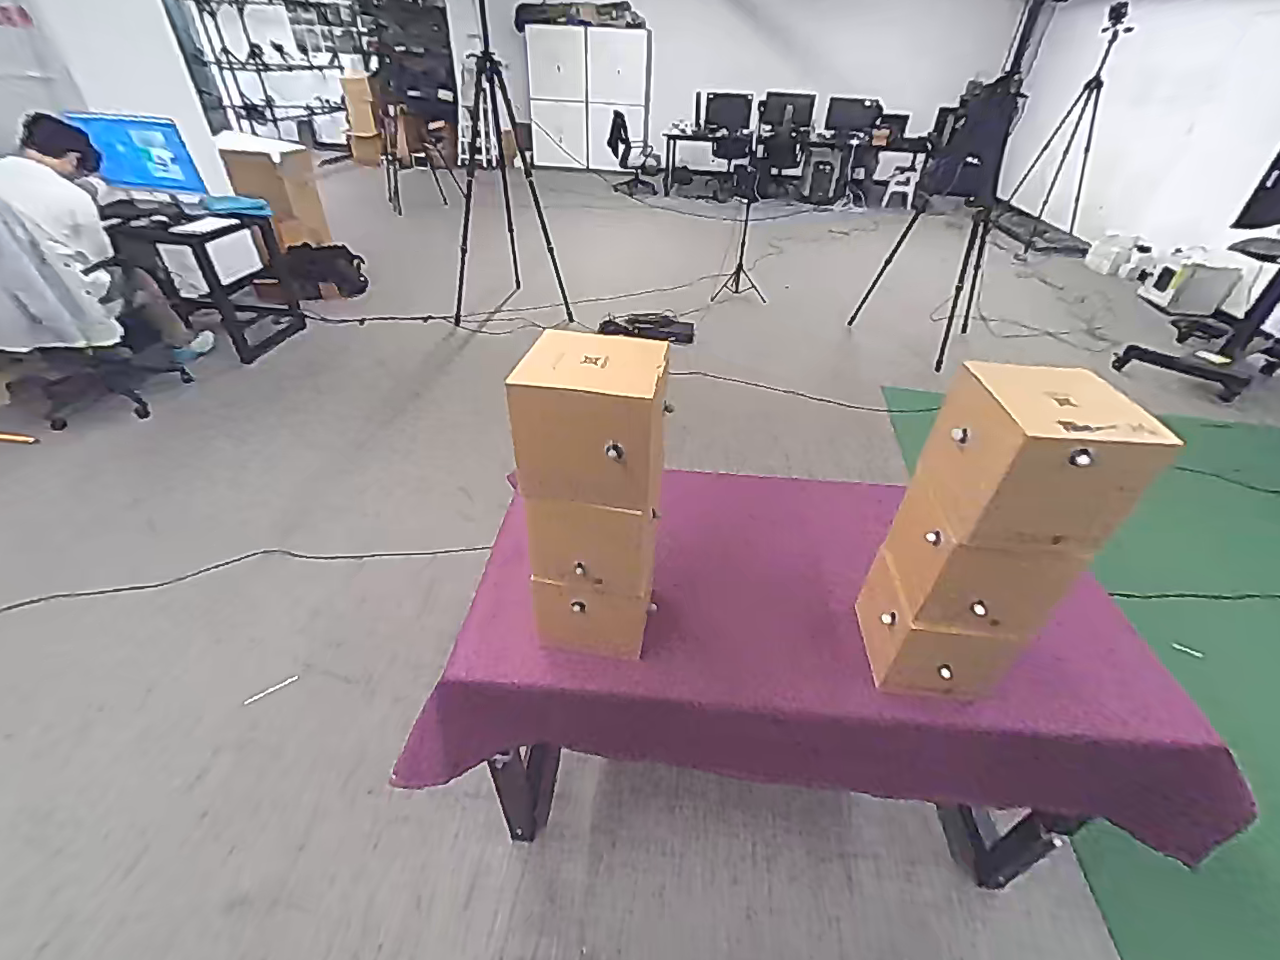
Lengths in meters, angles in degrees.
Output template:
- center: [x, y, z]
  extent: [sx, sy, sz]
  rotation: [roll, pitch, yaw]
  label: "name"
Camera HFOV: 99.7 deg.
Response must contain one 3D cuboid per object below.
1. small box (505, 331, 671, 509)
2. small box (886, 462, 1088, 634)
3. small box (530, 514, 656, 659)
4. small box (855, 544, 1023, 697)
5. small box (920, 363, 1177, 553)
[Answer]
- center: [-0.060, -0.080, 0.720]
  extent: [0.179, 0.176, 0.168]
  rotation: [7, 38, 6]
  label: "small box"
- center: [0.482, 0.097, 0.789]
  extent: [0.168, 0.176, 0.179]
  rotation: [5, 39, 4]
  label: "small box"
- center: [-0.073, 0.181, 0.919]
  extent: [0.179, 0.176, 0.168]
  rotation: [7, 38, 5]
  label: "small box"
- center: [0.471, 0.230, 0.884]
  extent: [0.168, 0.176, 0.179]
  rotation: [5, 38, 3]
  label: "small box"
- center: [0.487, -0.031, 0.685]
  extent: [0.168, 0.176, 0.179]
  rotation: [2, 38, 1]
  label: "small box"
